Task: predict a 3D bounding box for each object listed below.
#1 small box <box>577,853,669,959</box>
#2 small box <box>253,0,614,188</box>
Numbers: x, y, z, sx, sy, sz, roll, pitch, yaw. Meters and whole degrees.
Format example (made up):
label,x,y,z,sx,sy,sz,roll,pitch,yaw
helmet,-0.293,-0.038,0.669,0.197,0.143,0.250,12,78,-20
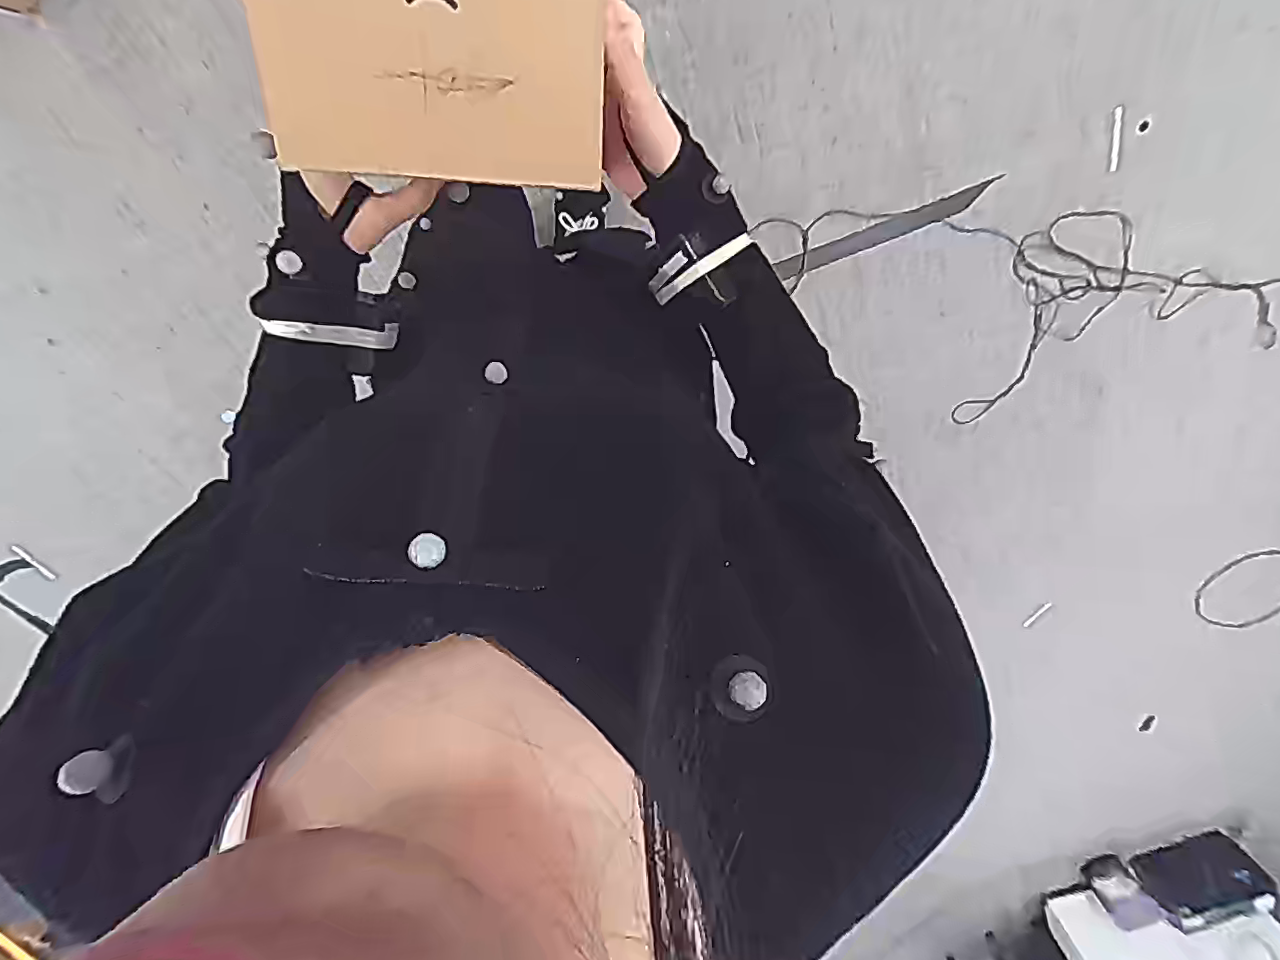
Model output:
label,x,y,z,sx,sy,sz,roll,pitch,yaw
small box,-0.040,1.036,1.293,0.168,0.176,0.179,-20,119,5
small box,-0.106,-0.278,0.315,0.168,0.176,0.179,-1,120,-10
